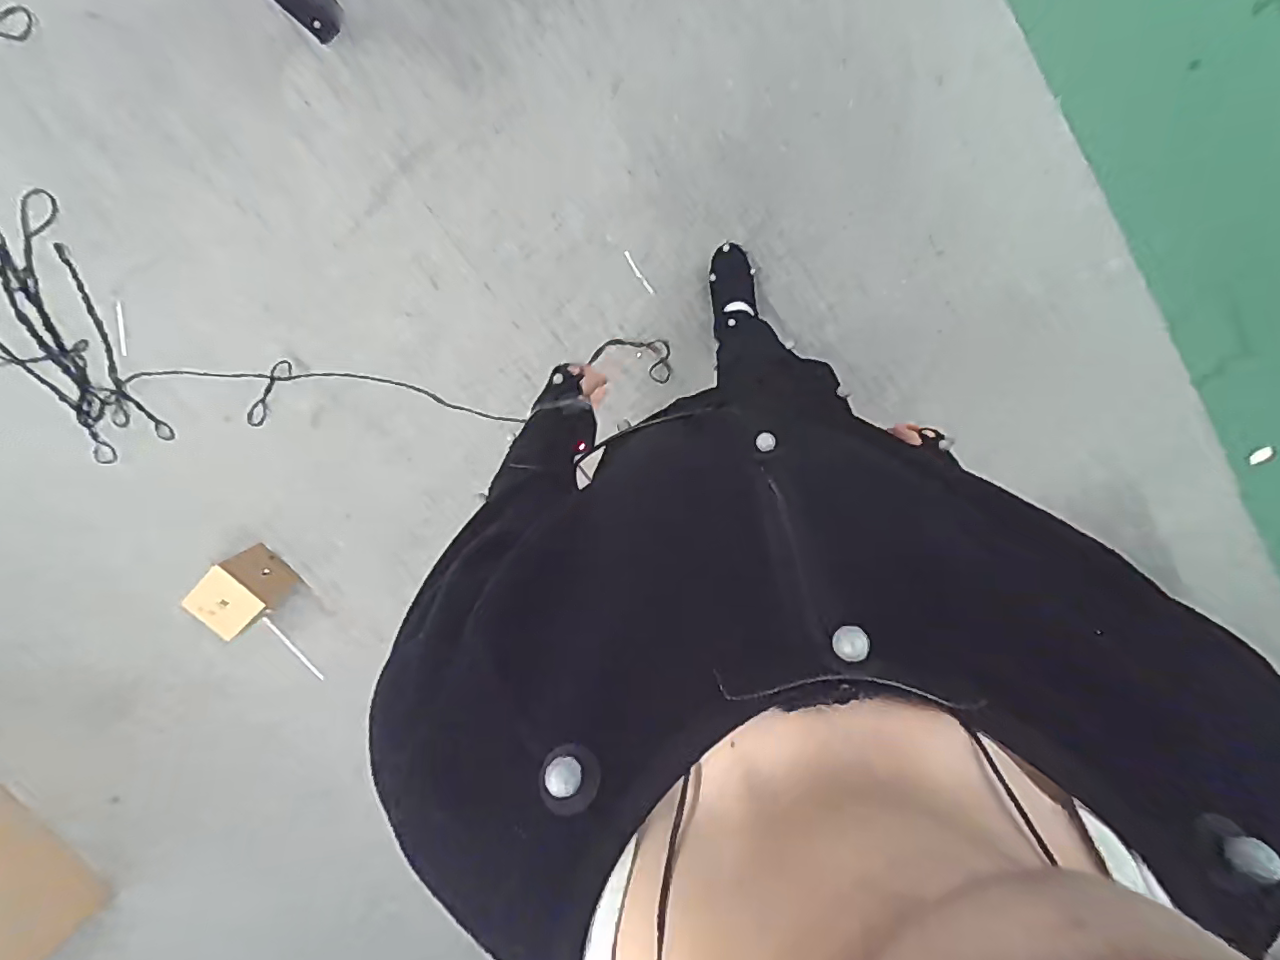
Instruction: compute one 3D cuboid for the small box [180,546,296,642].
[{"bbox_3d":[-1.128,0.316,1.538,0.179,0.176,0.168,-41,99,11],"label":"small box"}]
